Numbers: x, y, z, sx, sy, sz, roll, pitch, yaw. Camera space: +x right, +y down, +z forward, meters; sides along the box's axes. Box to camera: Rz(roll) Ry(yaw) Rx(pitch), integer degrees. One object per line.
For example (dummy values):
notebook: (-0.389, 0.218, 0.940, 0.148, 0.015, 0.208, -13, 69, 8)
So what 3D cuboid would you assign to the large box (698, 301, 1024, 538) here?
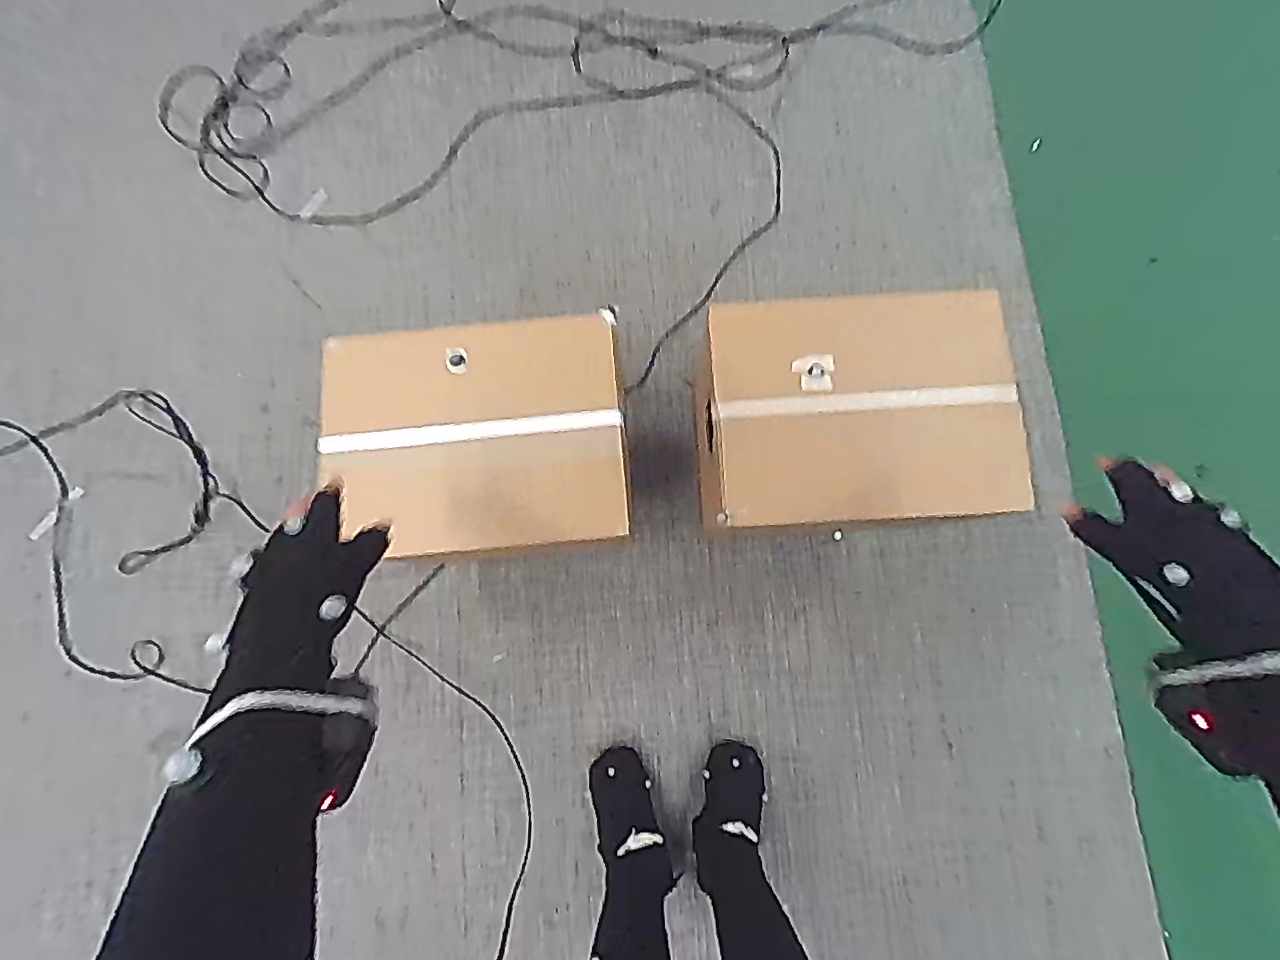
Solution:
large box: (0.315, -0.071, 0.894, 0.408, 0.320, 0.320, -3, 81, 1)
